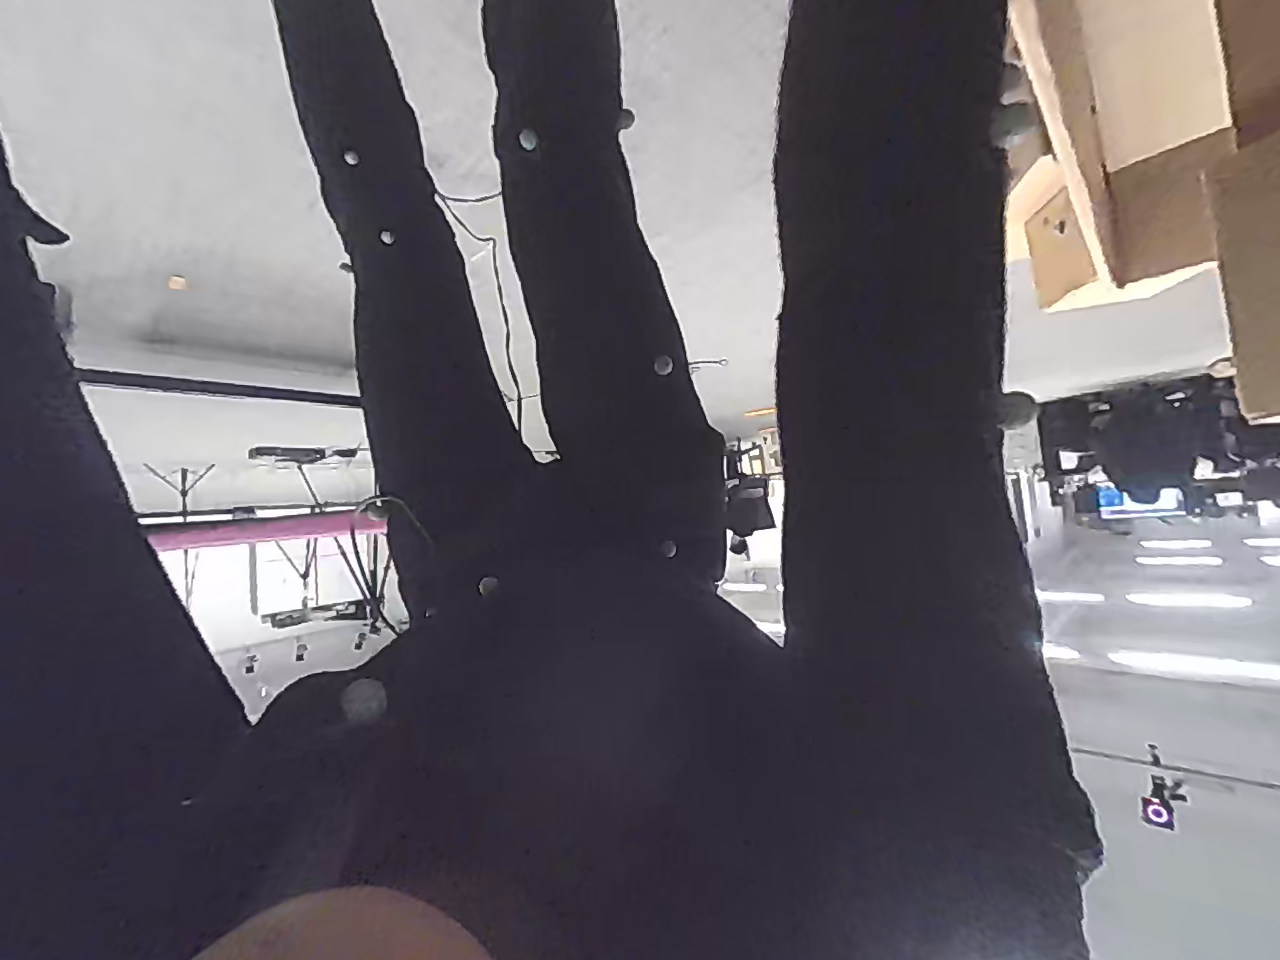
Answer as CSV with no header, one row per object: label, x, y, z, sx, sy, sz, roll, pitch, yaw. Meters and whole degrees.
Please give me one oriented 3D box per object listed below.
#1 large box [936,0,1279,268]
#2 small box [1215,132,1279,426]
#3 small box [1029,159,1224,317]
large box,0.753,-0.624,0.937,0.320,0.320,0.408,-6,177,13
small box,0.470,-0.128,0.287,0.179,0.176,0.168,-3,175,-17
small box,0.774,-0.385,0.875,0.179,0.176,0.168,-7,176,9
